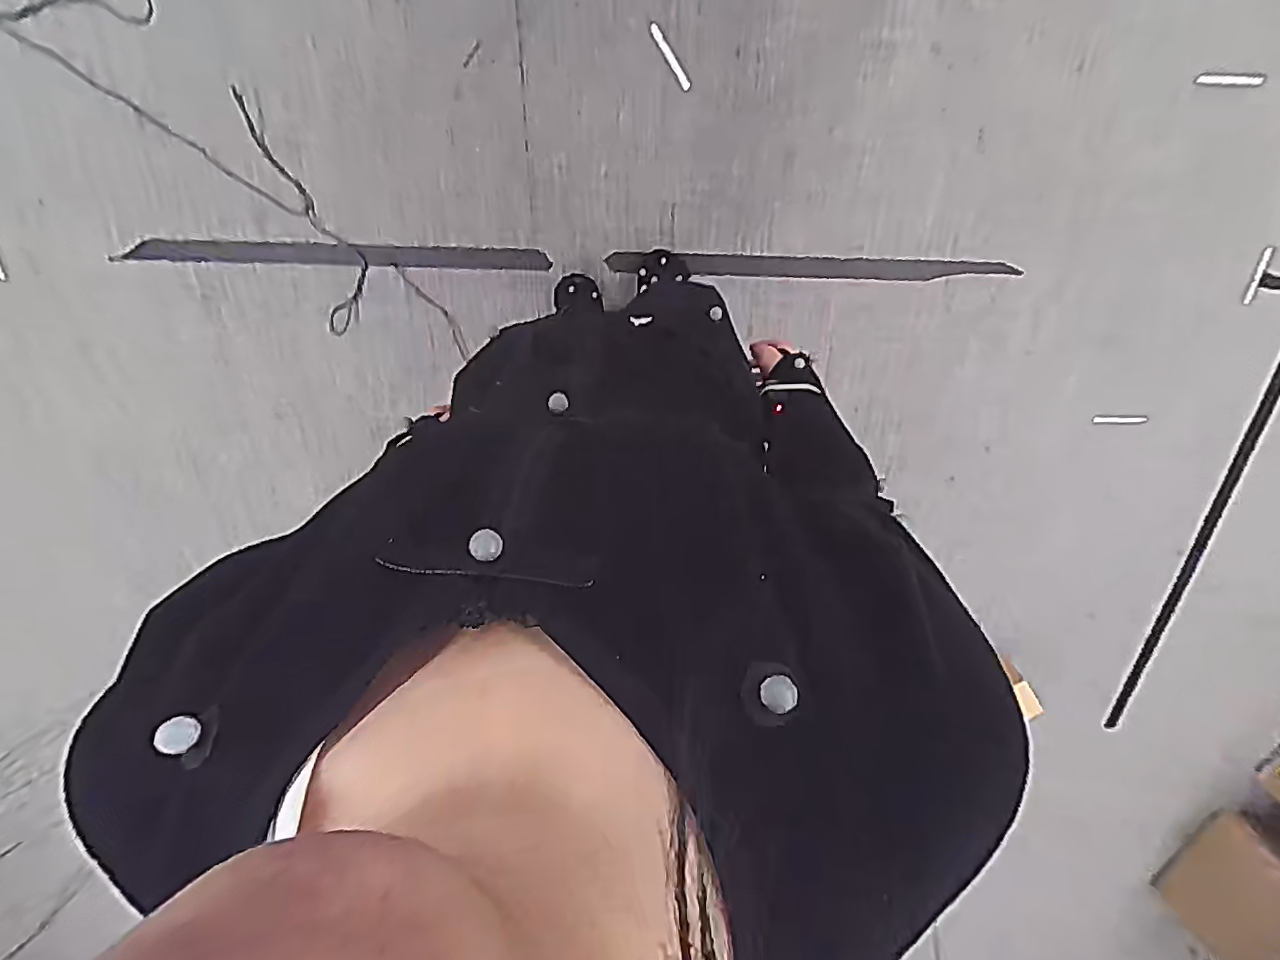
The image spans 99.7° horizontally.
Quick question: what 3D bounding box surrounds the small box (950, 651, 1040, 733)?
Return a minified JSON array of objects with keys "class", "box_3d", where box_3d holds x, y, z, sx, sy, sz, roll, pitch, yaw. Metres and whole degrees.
[{"class":"small box","box_3d":[1.201,0.711,1.841,0.168,0.176,0.179,-35,112,13]}]
